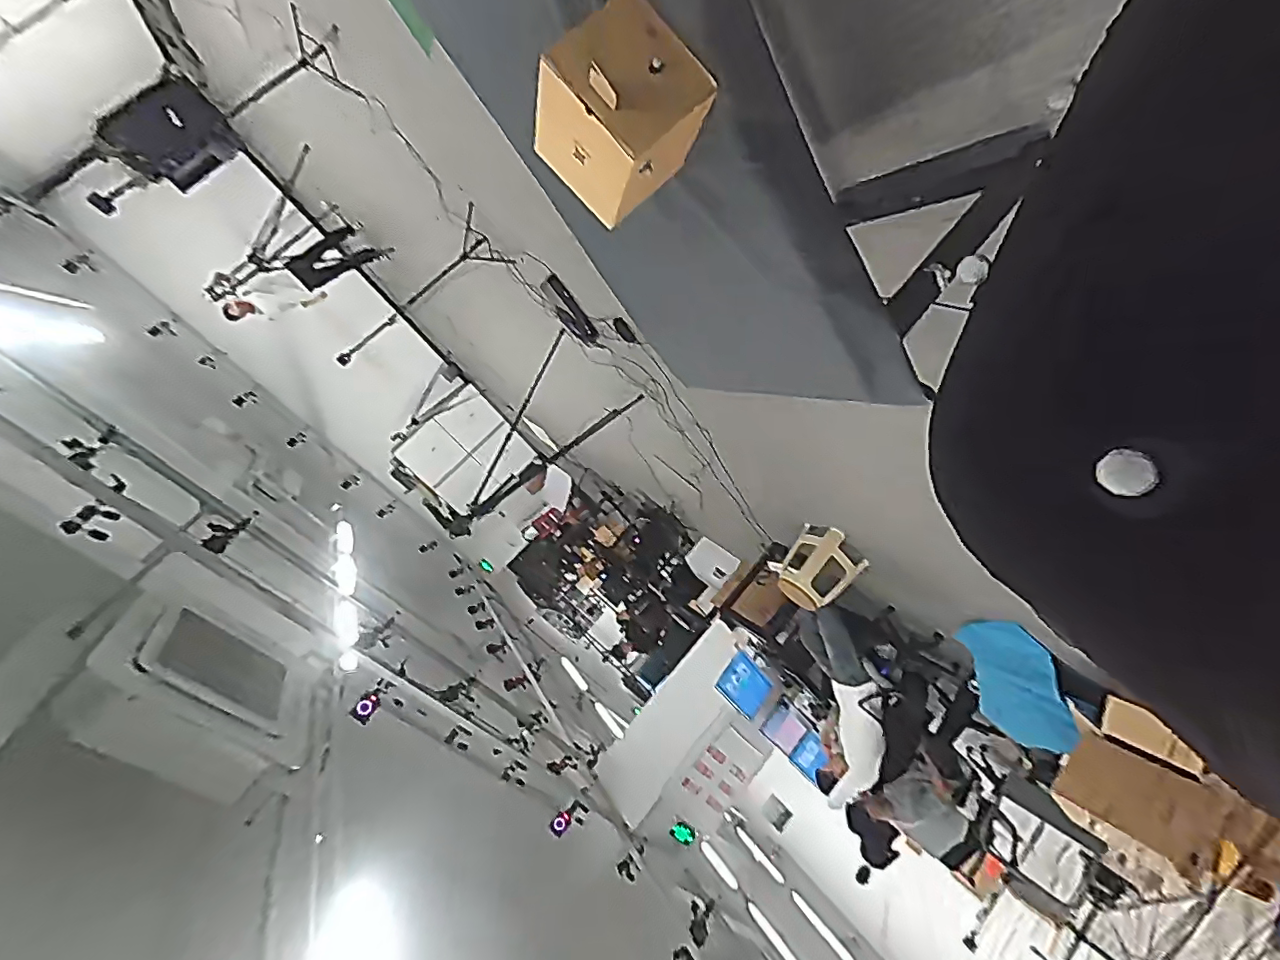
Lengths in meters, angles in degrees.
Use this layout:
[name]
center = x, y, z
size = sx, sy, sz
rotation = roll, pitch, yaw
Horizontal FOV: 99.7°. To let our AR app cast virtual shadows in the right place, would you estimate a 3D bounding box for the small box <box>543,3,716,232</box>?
[small box]
center = -0.019, -0.506, 0.774
size = 0.168, 0.176, 0.179
rotation = 45, 168, -6
